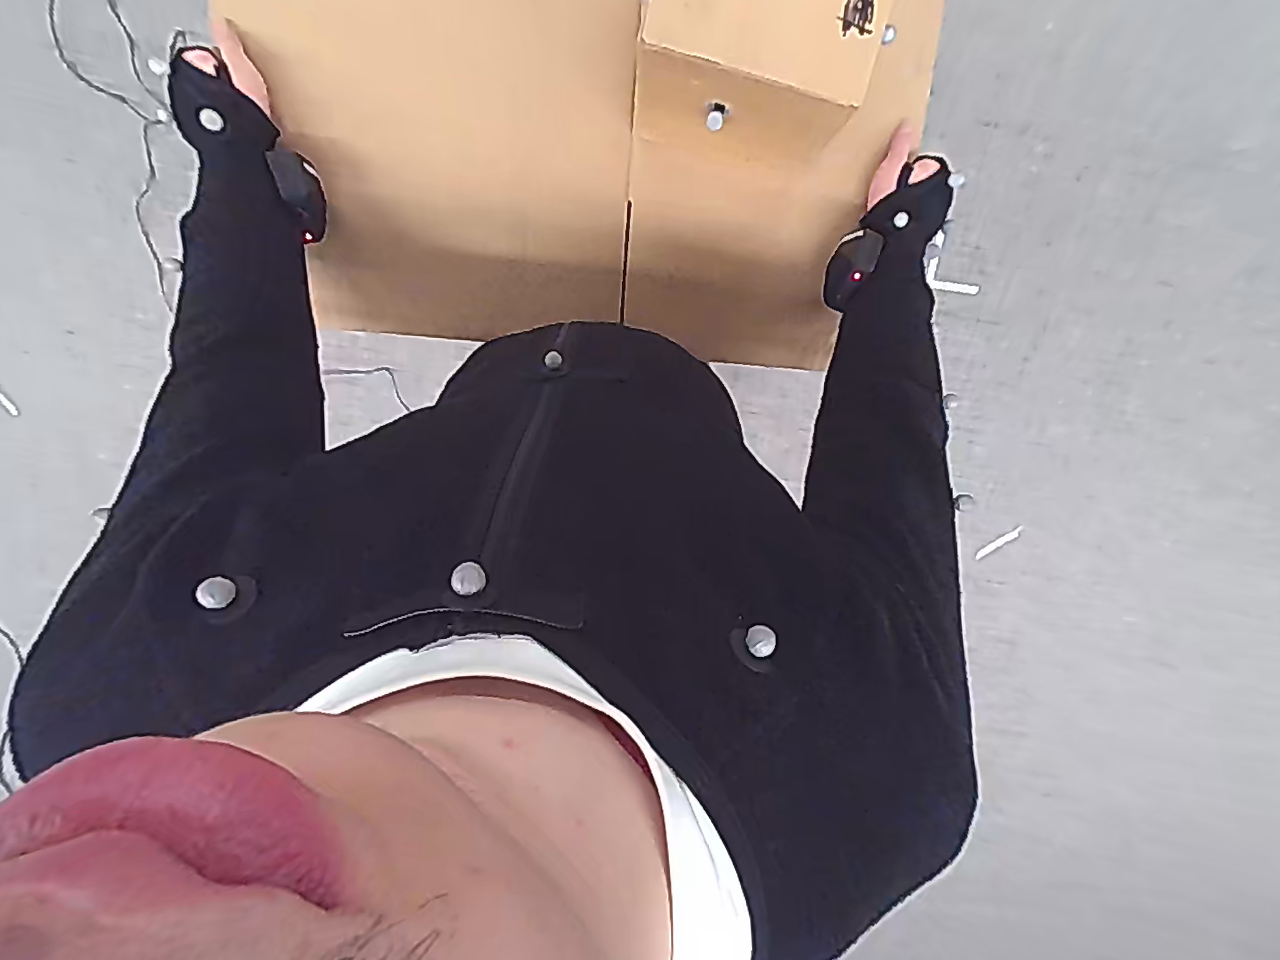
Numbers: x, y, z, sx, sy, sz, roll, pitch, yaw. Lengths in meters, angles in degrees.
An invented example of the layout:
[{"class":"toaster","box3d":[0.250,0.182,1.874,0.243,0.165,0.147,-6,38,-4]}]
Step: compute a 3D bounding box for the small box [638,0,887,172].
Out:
[{"class":"small box","box3d":[0.102,-0.400,0.474,0.179,0.176,0.168,14,102,-3]}]
